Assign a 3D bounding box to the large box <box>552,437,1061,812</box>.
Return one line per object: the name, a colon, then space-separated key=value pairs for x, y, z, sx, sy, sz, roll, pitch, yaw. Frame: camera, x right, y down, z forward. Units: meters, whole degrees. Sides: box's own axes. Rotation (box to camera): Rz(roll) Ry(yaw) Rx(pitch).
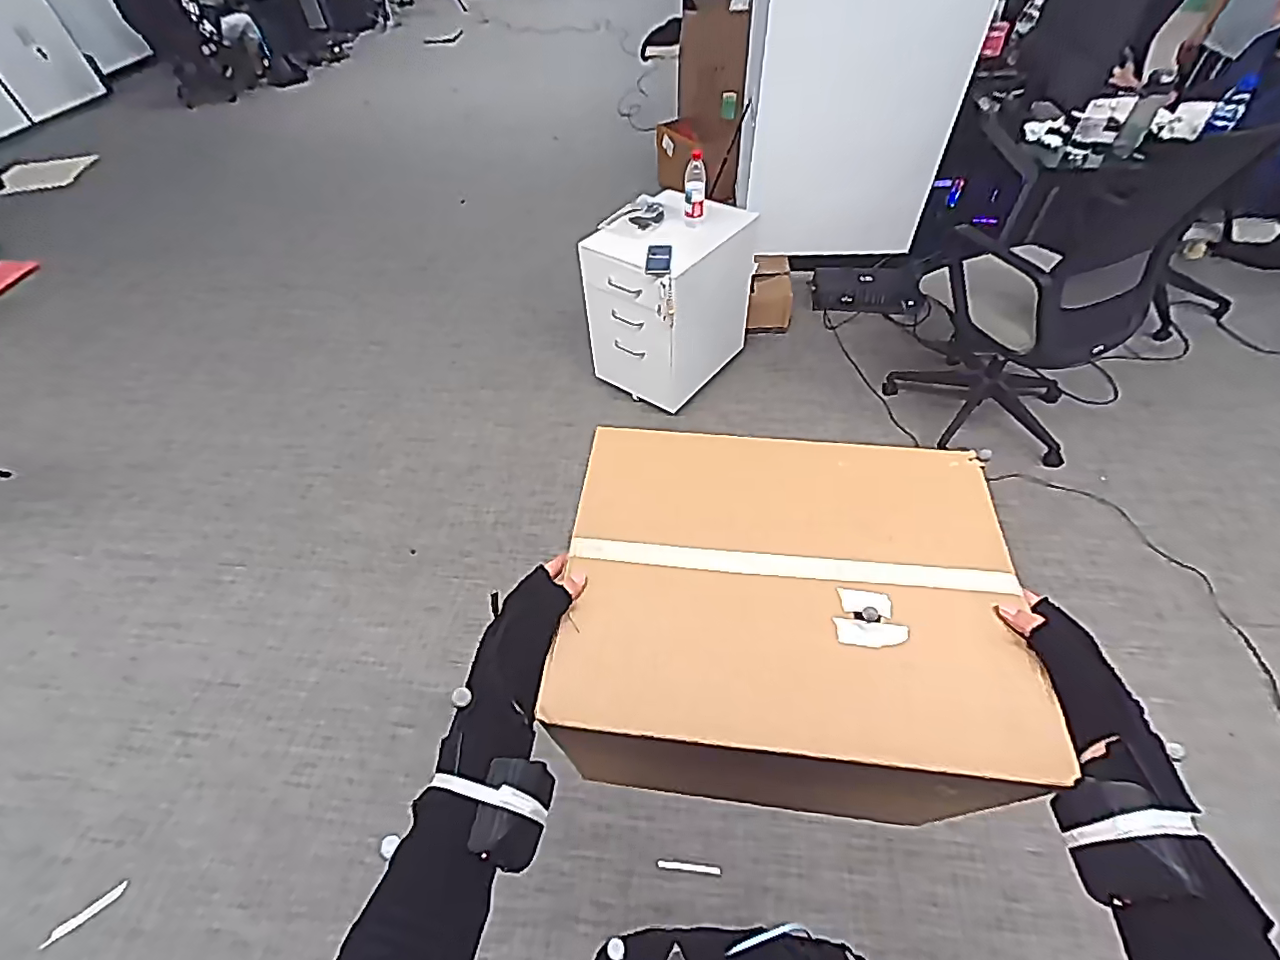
large box: x=0.141 y=0.173 z=0.630 sx=0.408 sy=0.320 sz=0.320 roll=4 pitch=55 yaw=5
